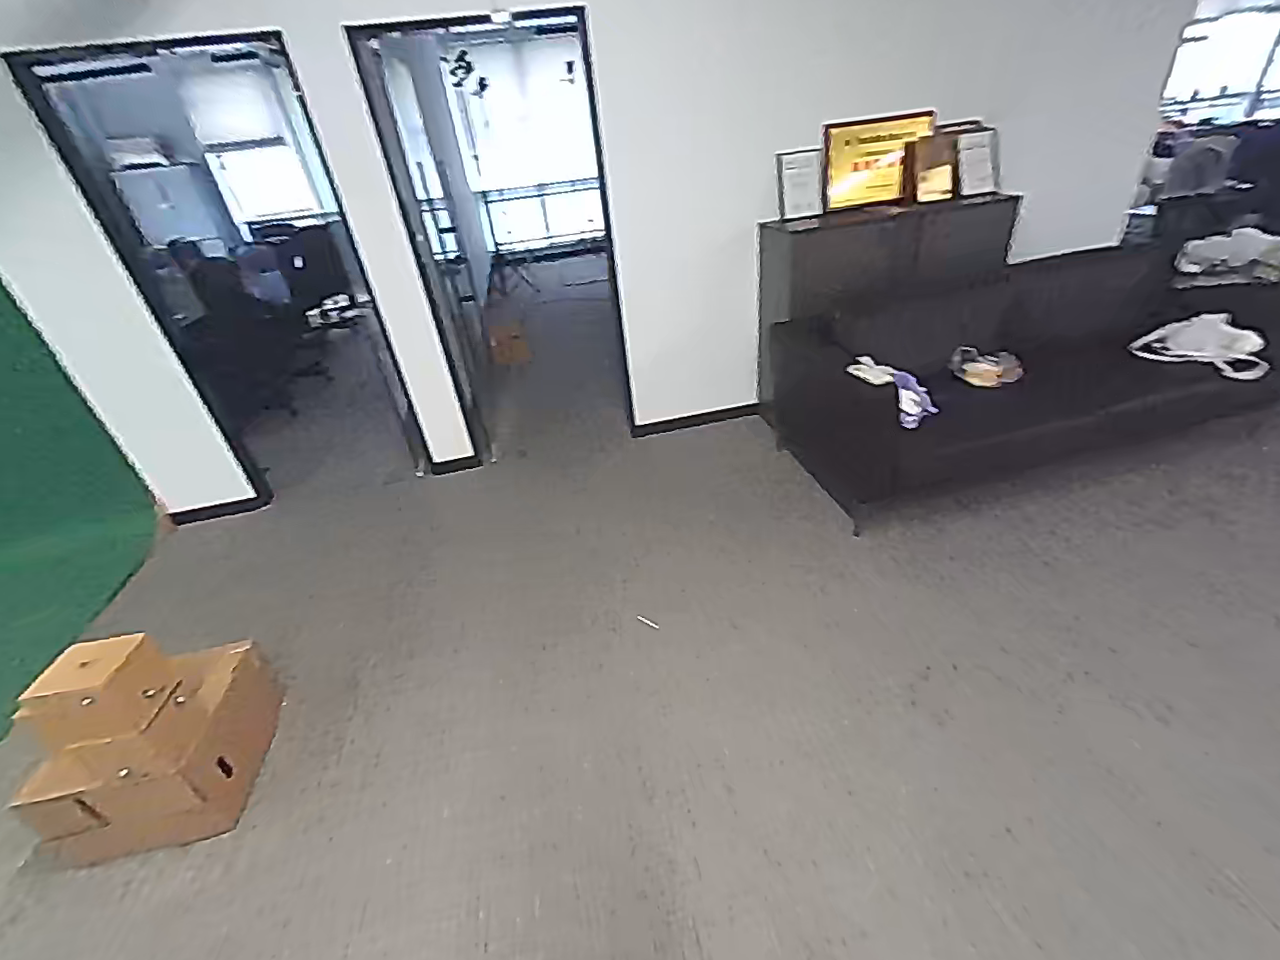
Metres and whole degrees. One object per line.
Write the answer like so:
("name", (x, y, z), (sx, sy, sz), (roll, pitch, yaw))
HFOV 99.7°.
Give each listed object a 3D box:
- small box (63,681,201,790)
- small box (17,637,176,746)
("small box", (-1.278, 0.650, 1.382), (0.168, 0.176, 0.179), (-10, 31, -6))
("small box", (-1.291, 0.510, 1.300), (0.179, 0.176, 0.168), (-8, 31, -6))
